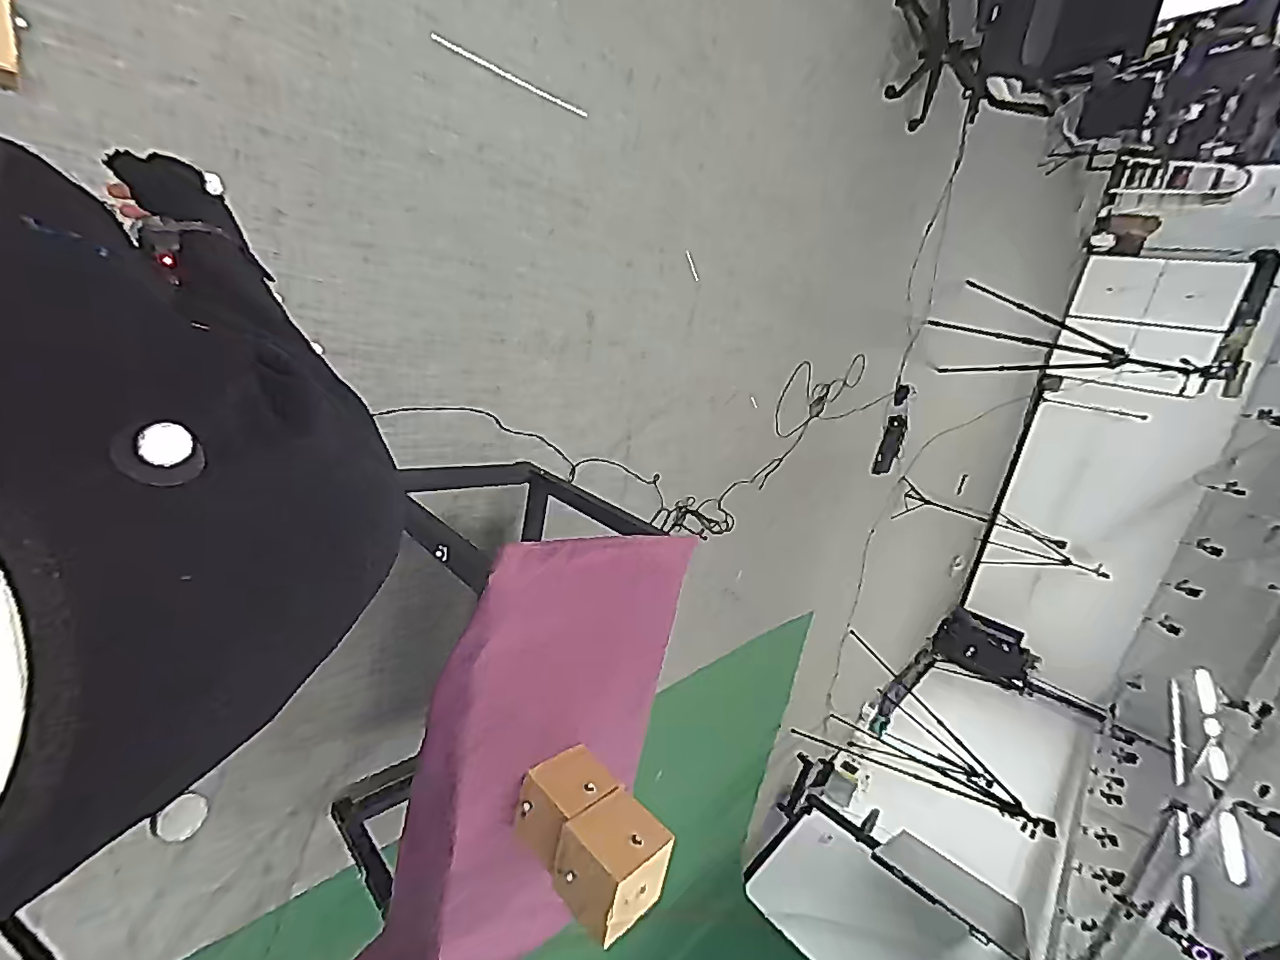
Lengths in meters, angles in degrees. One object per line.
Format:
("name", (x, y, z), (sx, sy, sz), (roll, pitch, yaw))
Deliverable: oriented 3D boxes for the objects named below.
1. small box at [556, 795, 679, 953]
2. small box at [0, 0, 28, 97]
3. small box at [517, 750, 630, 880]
("small box", (-0.049, 0.810, 1.138), (0.179, 0.176, 0.168), (-2, 107, -47))
("small box", (-1.008, -0.681, 0.769), (0.168, 0.176, 0.179), (-8, 113, -46))
("small box", (-0.156, 0.767, 1.256), (0.179, 0.176, 0.168), (1, 106, -48))
